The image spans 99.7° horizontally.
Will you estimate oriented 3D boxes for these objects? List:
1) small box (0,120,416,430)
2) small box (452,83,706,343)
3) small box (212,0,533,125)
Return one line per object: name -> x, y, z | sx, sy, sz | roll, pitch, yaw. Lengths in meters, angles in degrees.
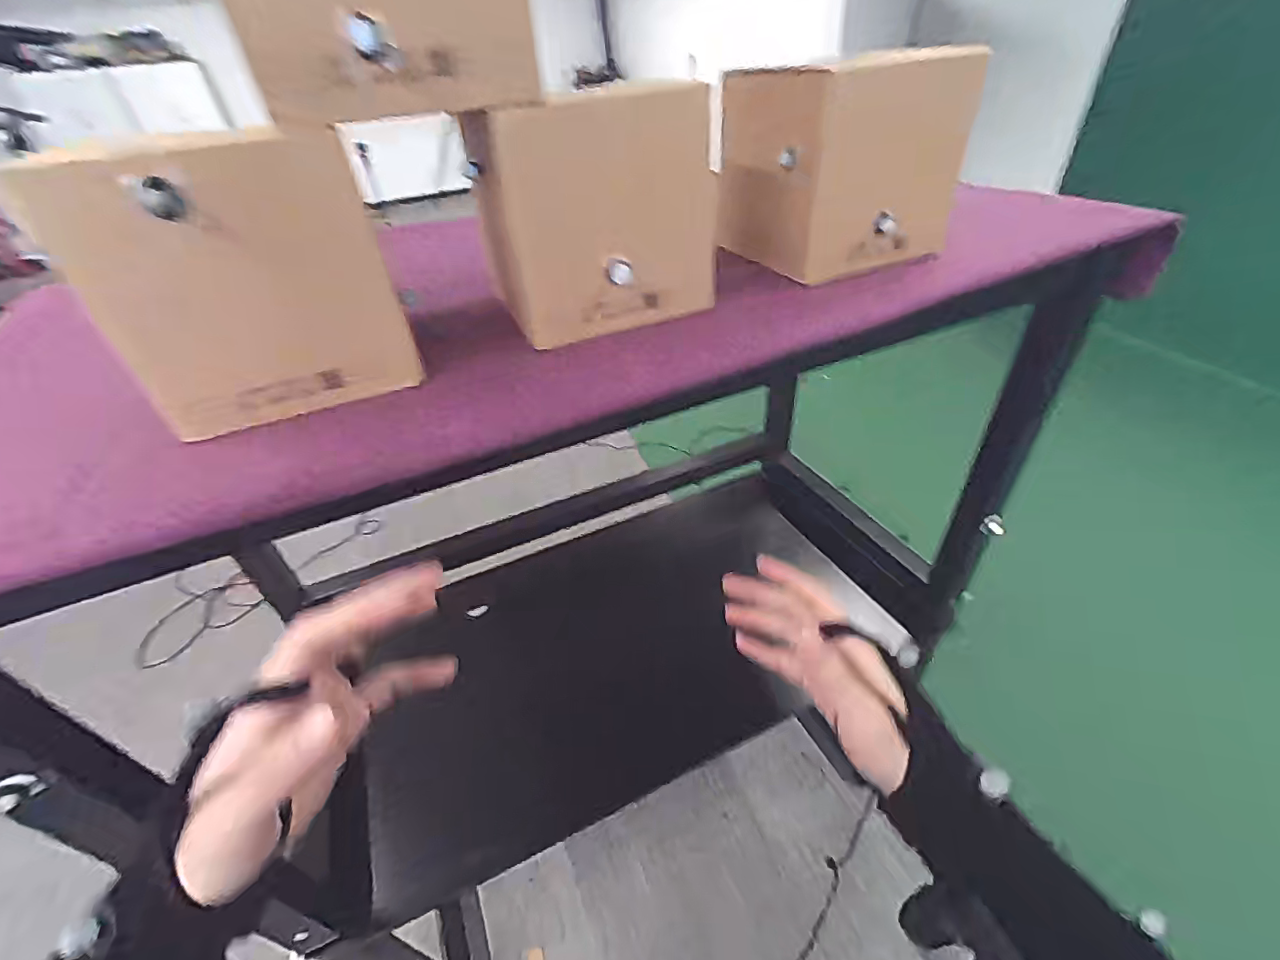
small box -> -0.283, -0.160, 0.401 | 0.168, 0.176, 0.179 | -20, 39, -17
small box -> -0.055, -0.239, 0.477 | 0.168, 0.176, 0.179 | -19, 40, -16
small box -> -0.179, -0.332, 0.345 | 0.168, 0.176, 0.179 | -18, 40, -14
